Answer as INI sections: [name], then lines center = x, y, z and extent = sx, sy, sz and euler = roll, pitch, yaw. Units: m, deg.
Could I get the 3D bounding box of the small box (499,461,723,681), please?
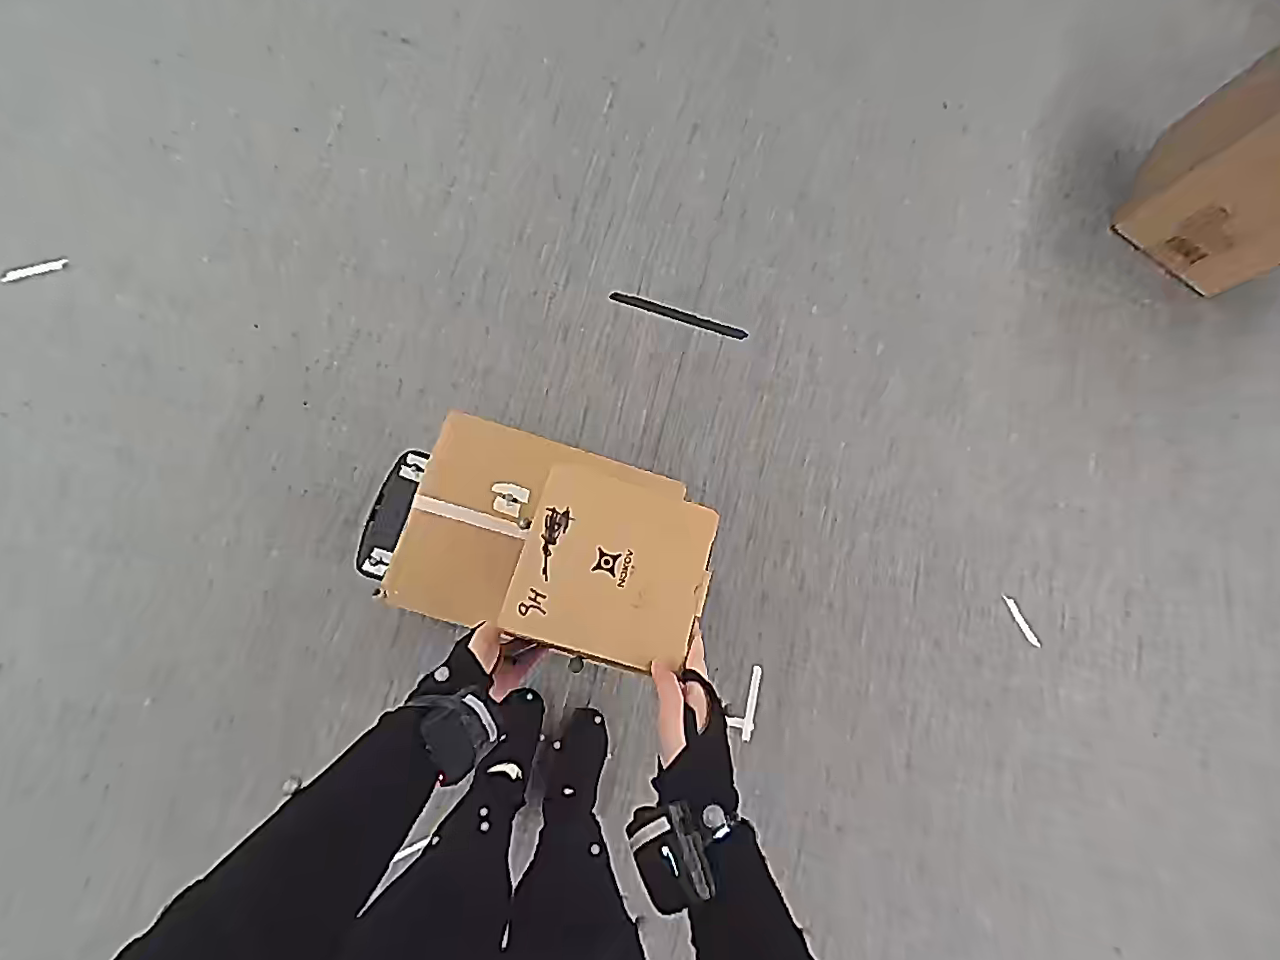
[small box]
center = -0.034, 0.102, 0.575
extent = 0.179, 0.176, 0.168
euler = 18, 70, -5

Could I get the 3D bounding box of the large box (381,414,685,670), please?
[large box]
center = -0.169, 0.121, 0.980
extent = 0.408, 0.320, 0.320
euler = 17, 76, -3
